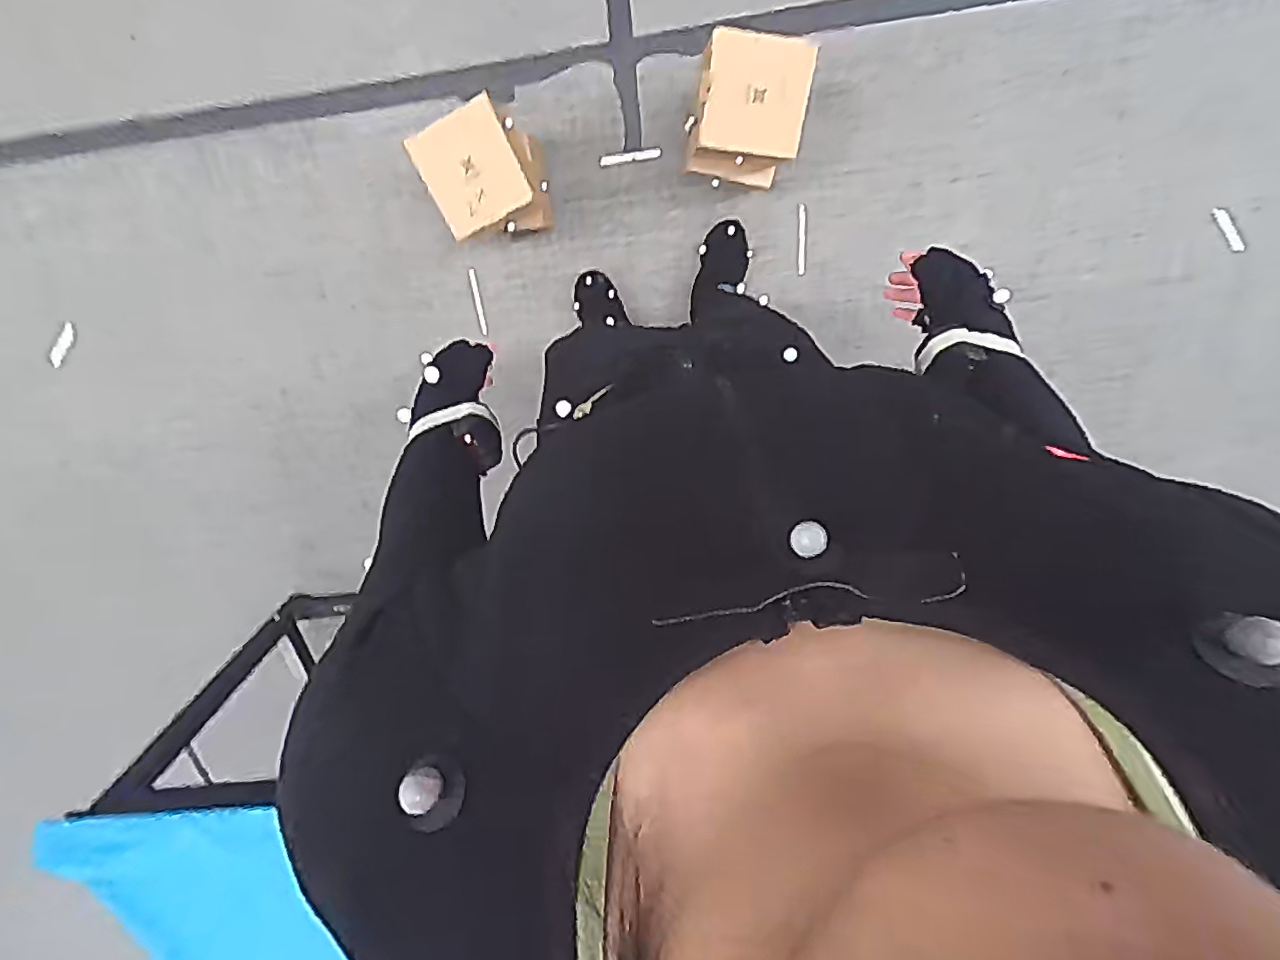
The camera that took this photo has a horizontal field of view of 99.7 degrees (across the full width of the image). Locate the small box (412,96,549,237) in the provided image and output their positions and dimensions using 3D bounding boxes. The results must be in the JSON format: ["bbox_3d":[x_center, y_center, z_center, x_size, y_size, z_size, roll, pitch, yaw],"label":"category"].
[{"bbox_3d":[-0.289,-0.580,1.020,0.168,0.176,0.179,-18,116,10],"label":"small box"}]

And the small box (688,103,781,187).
[{"bbox_3d":[0.203,-0.724,1.133,0.179,0.176,0.168,8,115,-5],"label":"small box"}]

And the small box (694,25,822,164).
[{"bbox_3d":[0.198,-0.678,0.973,0.179,0.176,0.168,6,116,-4],"label":"small box"}]

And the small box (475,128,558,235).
[{"bbox_3d":[-0.282,-0.641,1.173,0.168,0.176,0.179,-7,114,4],"label":"small box"}]
